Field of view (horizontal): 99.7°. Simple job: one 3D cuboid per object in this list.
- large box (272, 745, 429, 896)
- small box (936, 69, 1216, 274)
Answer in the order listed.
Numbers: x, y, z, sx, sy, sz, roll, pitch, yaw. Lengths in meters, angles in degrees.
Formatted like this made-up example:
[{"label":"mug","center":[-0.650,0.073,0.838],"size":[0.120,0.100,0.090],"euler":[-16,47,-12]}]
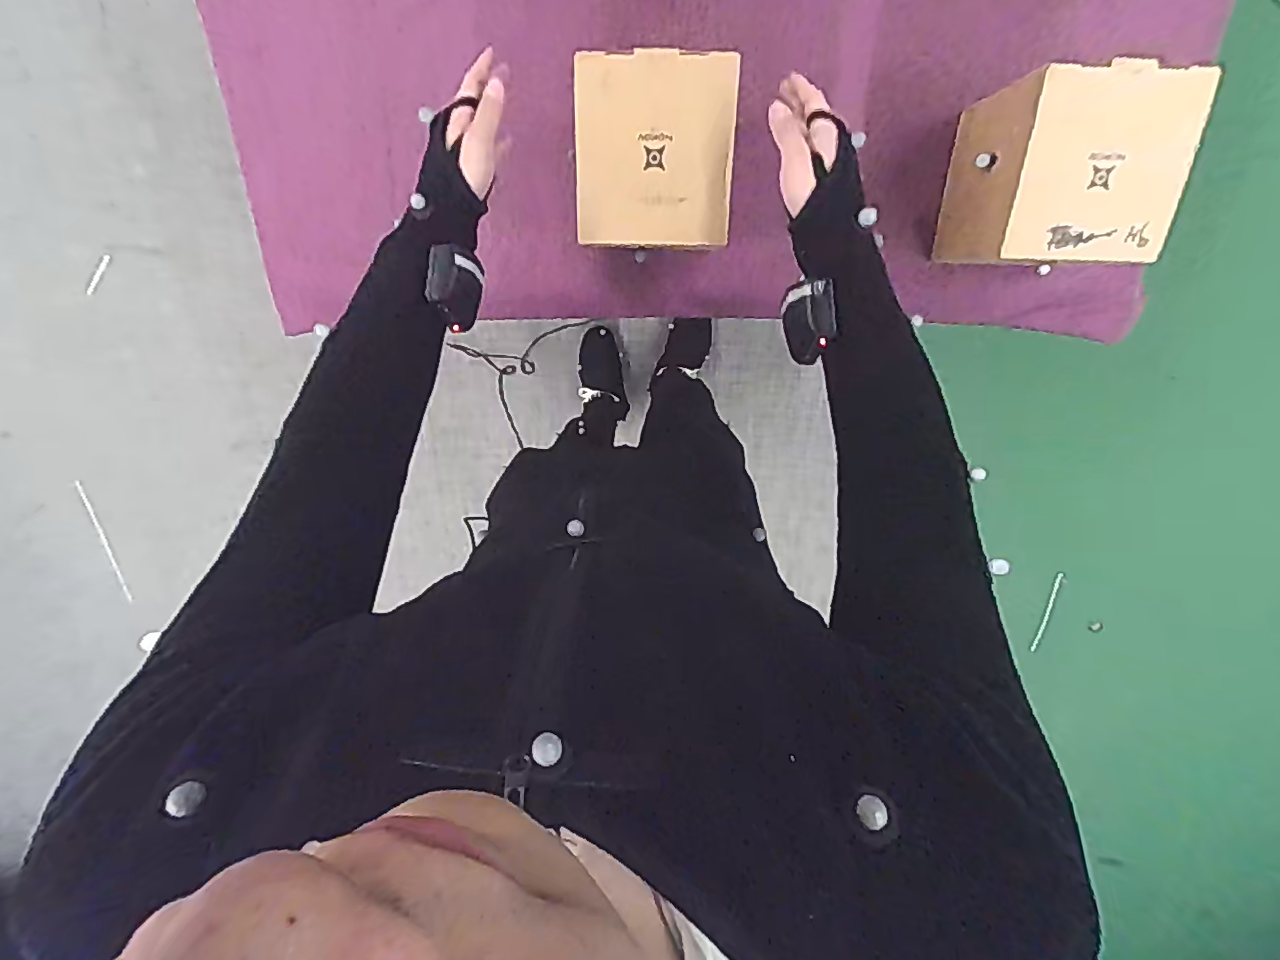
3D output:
[{"label":"large box","center":[-1.090,1.288,2.063],"size":[0.408,0.320,0.320],"euler":[23,112,-8]},{"label":"small box","center":[0.473,-0.337,0.624],"size":[0.168,0.176,0.179],"euler":[3,110,2]}]
